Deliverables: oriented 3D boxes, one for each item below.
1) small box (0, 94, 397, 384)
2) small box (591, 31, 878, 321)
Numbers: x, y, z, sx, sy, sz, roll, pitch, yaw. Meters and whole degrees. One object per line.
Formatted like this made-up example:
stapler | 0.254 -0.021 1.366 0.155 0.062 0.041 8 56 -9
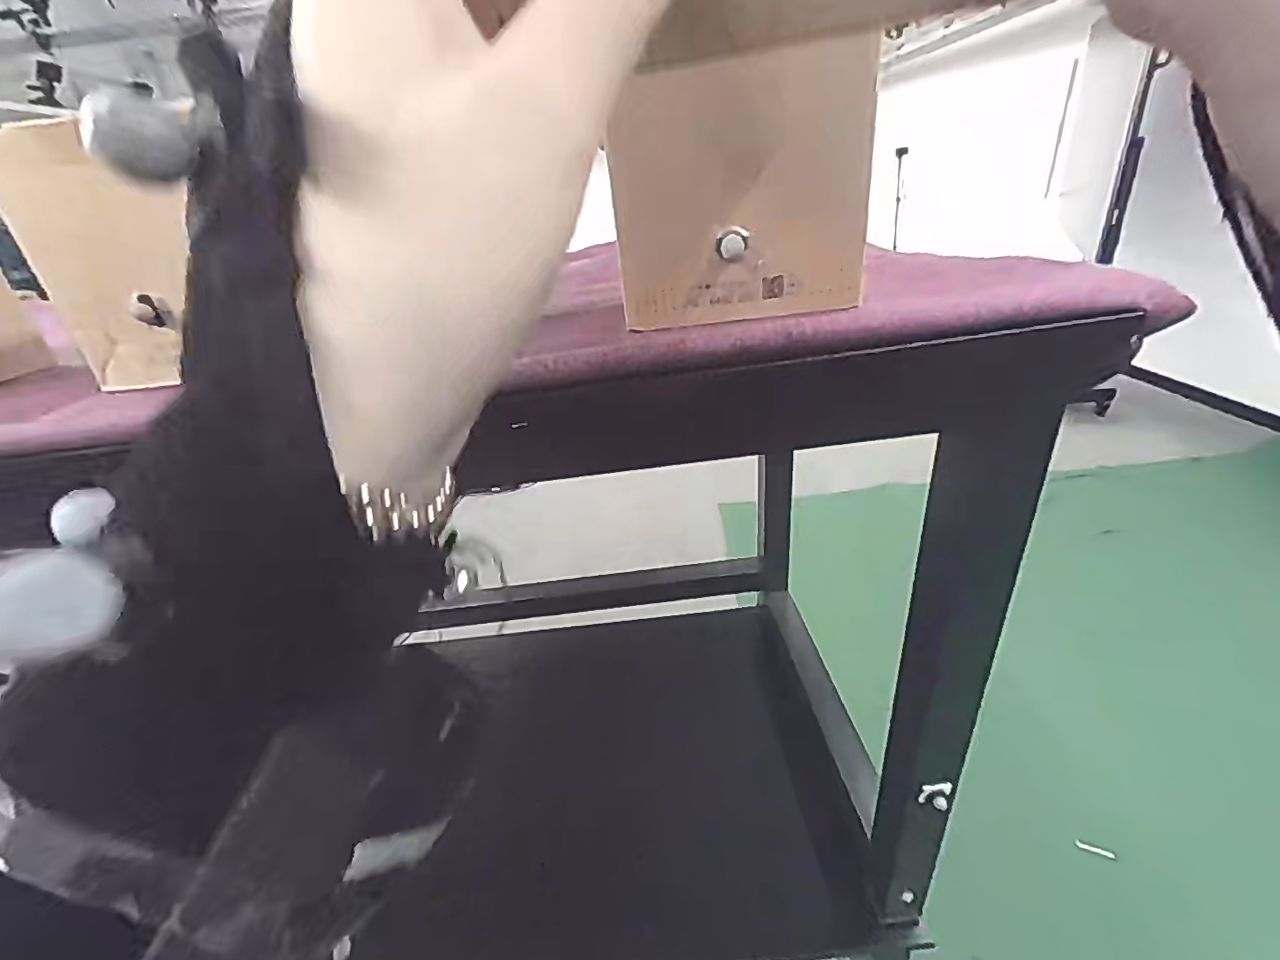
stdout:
small box | -0.320 -0.184 0.431 0.168 0.176 0.179 -5 28 5
small box | 0.063 -0.229 0.412 0.168 0.176 0.179 -6 30 6
